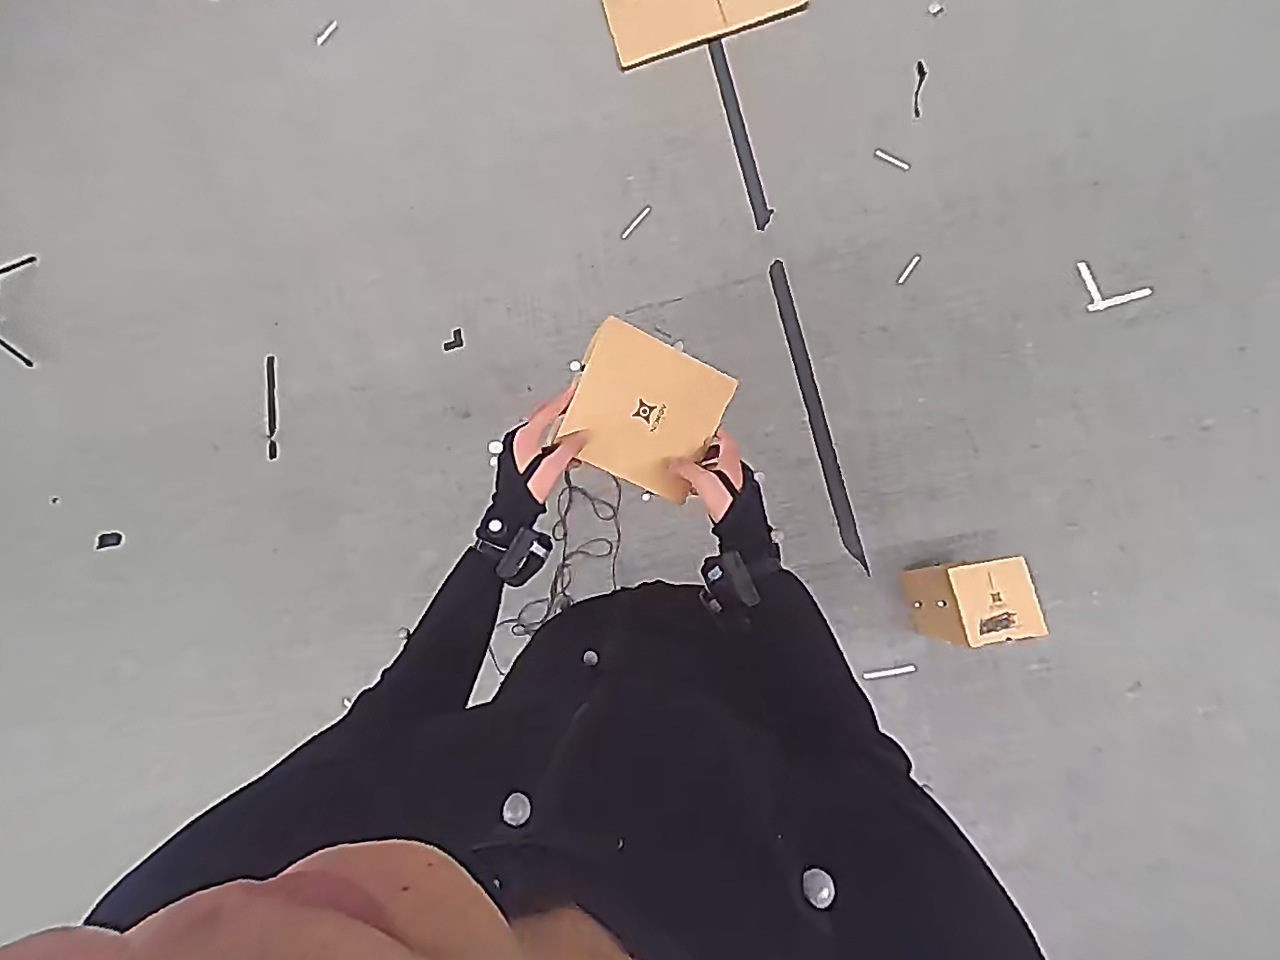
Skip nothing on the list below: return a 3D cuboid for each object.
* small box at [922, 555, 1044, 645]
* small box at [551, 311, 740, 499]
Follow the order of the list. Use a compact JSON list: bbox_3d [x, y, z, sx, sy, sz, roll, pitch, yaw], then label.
[{"bbox_3d":[0.793,0.279,1.270,0.168,0.176,0.179,-12,77,6],"label":"small box"},{"bbox_3d":[-0.006,-0.091,0.702,0.179,0.176,0.168,24,92,-14],"label":"small box"}]
